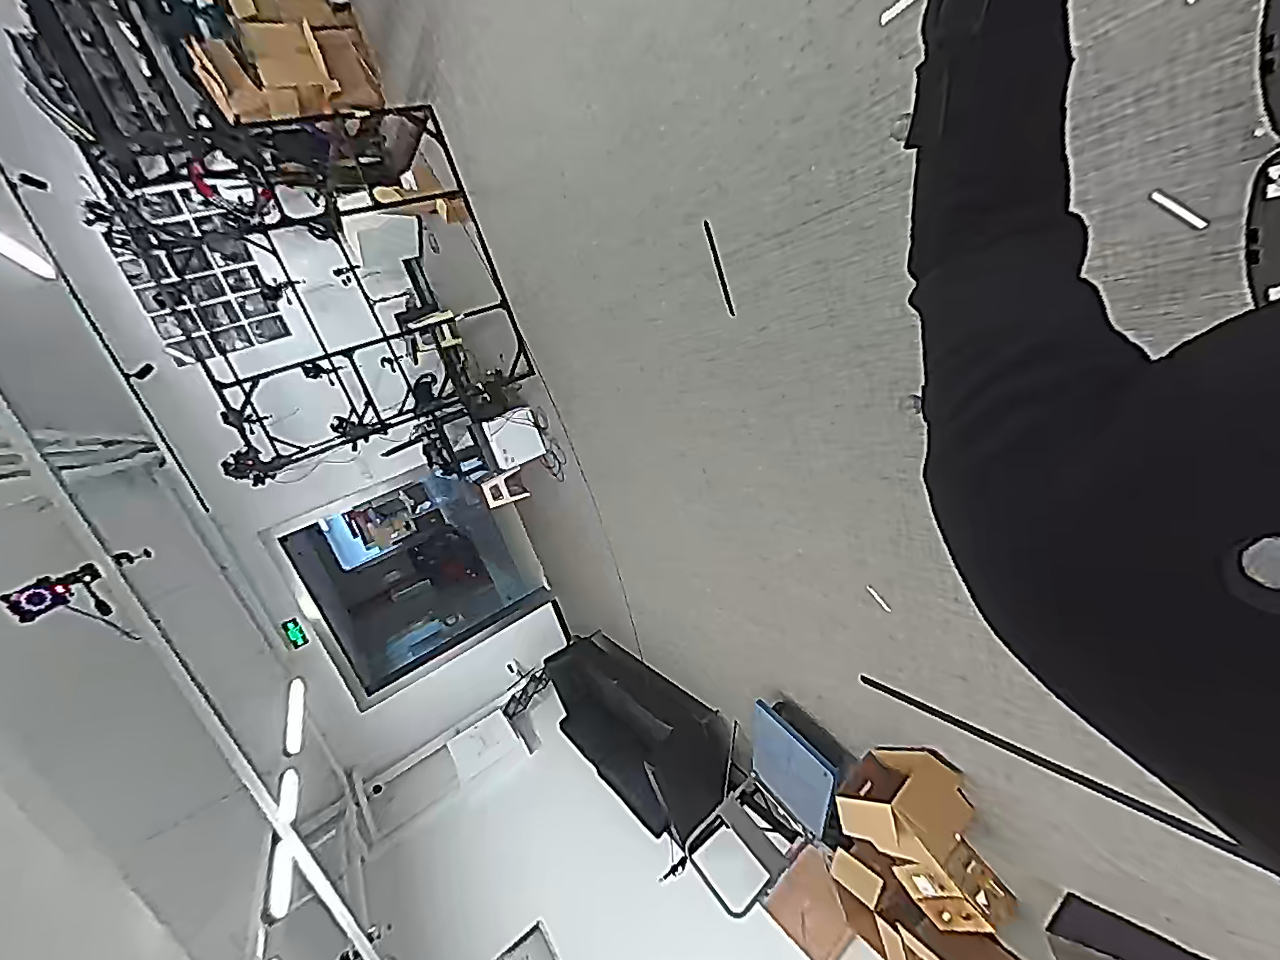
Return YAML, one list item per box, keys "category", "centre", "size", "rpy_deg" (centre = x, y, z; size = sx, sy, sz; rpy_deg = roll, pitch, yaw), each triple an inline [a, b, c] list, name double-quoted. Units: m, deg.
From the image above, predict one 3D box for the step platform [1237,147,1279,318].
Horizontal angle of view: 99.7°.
- category: "step platform"
  centre: [1.287, -0.419, 0.705]
  size: [0.684, 0.204, 0.286]
  rpy_deg: [10, 122, 61]
